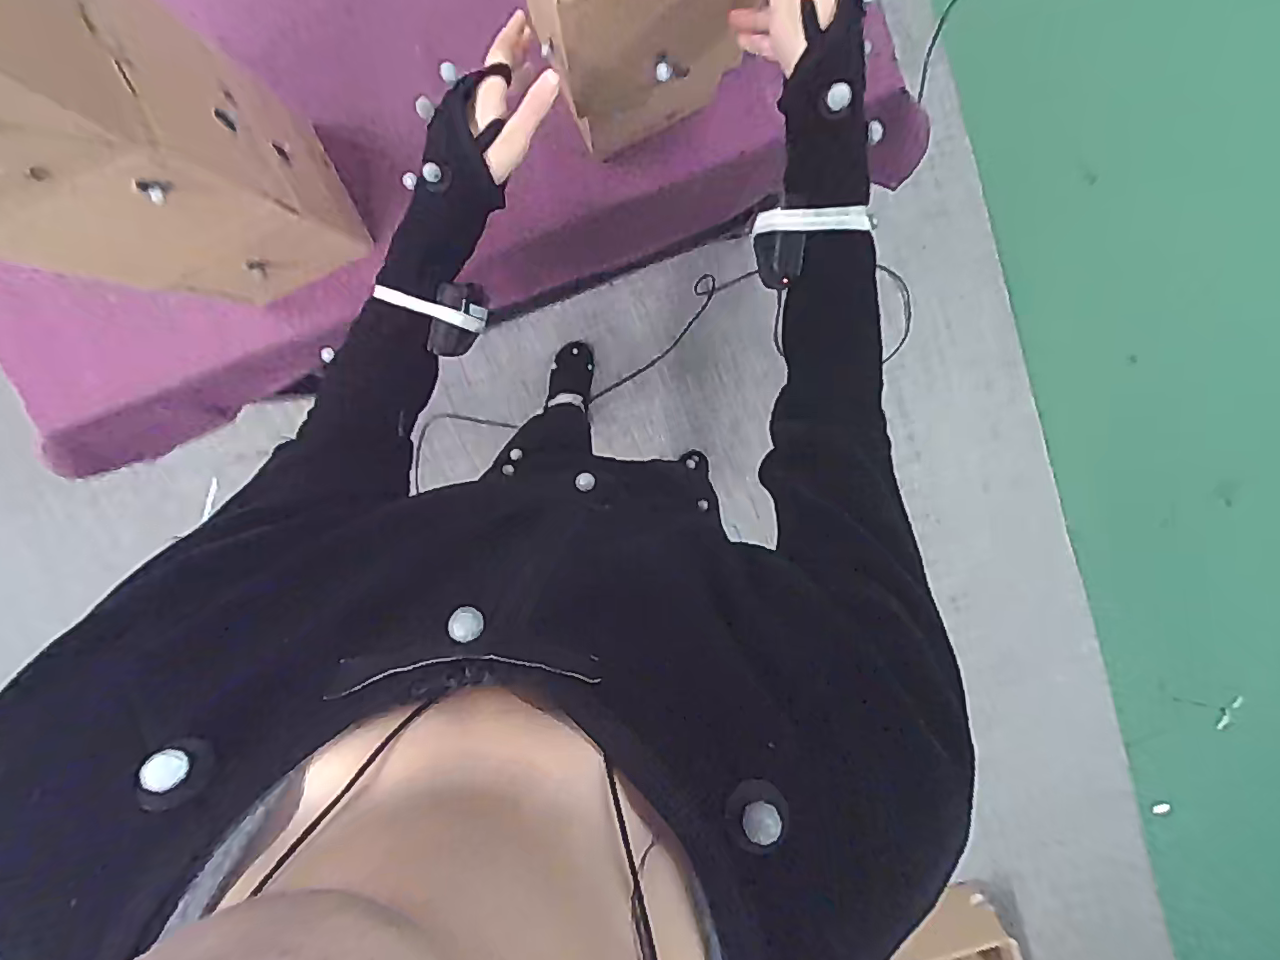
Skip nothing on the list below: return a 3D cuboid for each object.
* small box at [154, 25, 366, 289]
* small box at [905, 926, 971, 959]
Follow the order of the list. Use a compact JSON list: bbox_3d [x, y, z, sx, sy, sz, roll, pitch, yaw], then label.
[{"bbox_3d":[-0.448,-0.329,0.595,0.179,0.176,0.168,-23,101,3],"label":"small box"},{"bbox_3d":[0.970,1.577,1.710,0.179,0.176,0.168,-24,101,-1],"label":"small box"}]
